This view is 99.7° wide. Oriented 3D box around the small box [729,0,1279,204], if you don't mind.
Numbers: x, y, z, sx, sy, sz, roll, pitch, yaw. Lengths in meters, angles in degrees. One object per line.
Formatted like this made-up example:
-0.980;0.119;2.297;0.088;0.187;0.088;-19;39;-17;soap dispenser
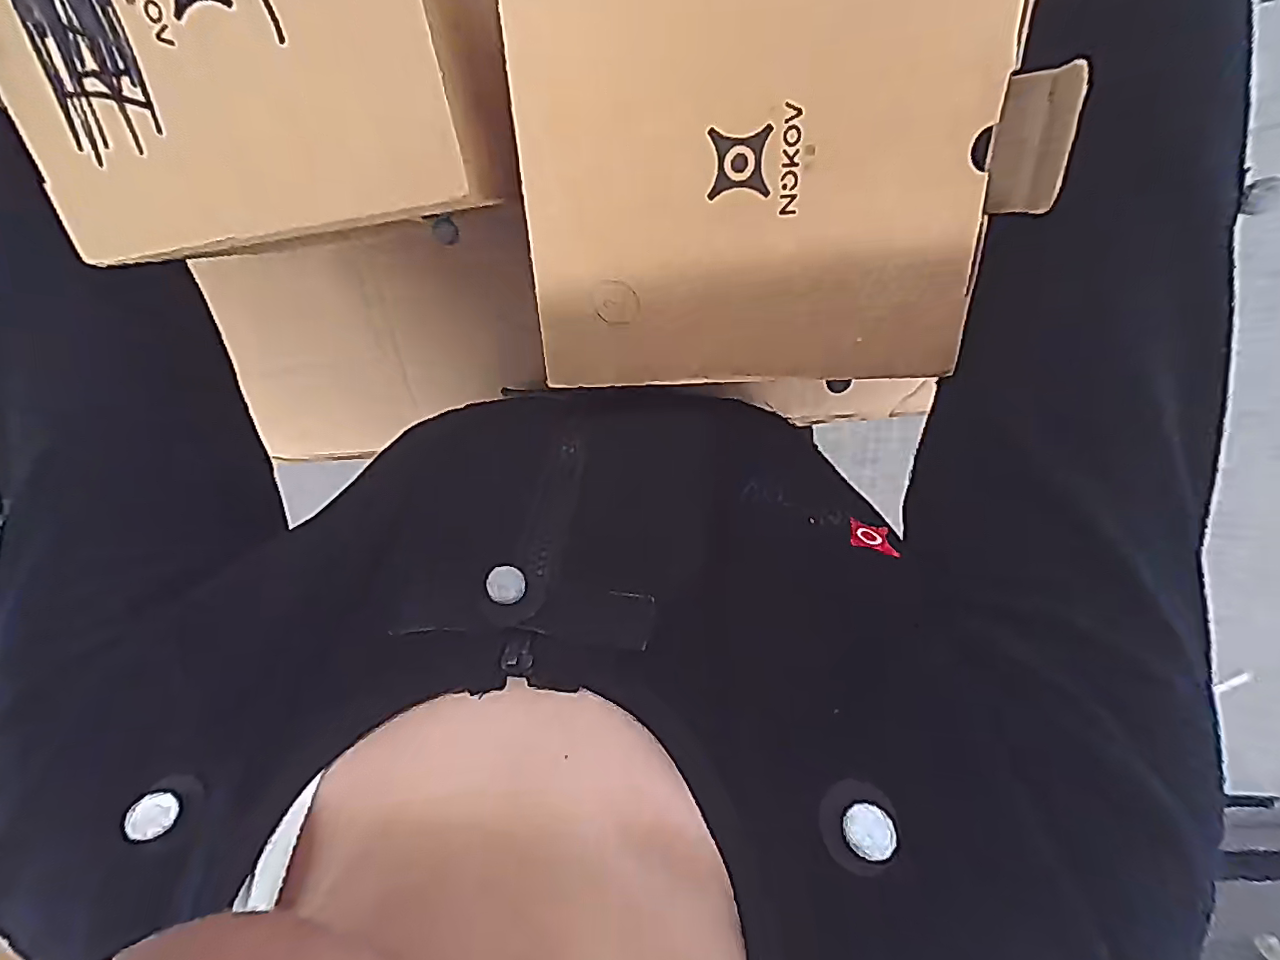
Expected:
0.142;-0.221;0.214;0.179;0.176;0.168;11;123;-2;small box
